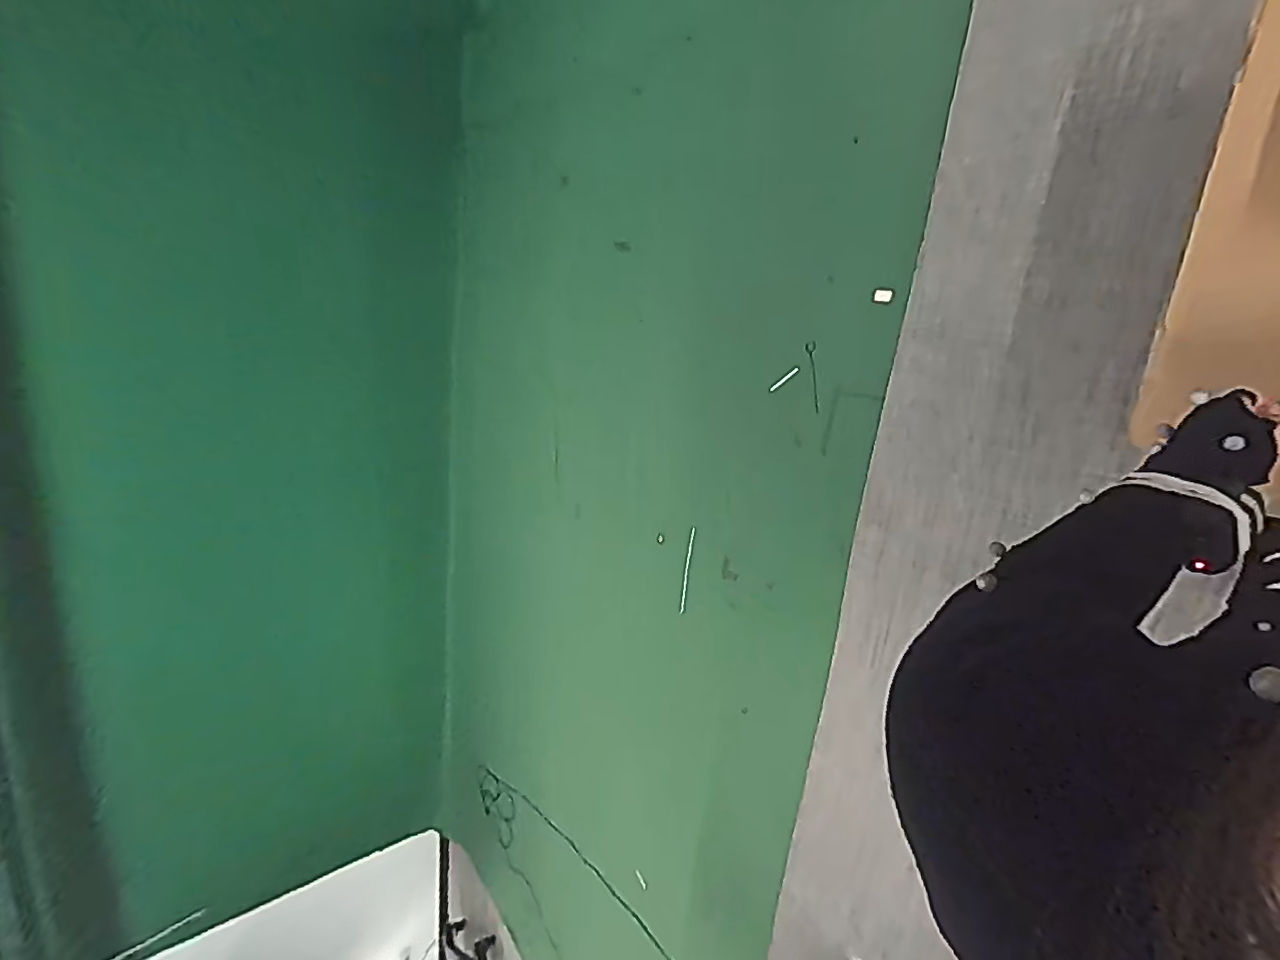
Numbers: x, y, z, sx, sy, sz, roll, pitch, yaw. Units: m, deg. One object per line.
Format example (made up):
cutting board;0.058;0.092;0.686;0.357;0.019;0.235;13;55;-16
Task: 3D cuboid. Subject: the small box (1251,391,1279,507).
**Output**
small box;0.718;-0.051;0.501;0.168;0.176;0.179;20;88;51
